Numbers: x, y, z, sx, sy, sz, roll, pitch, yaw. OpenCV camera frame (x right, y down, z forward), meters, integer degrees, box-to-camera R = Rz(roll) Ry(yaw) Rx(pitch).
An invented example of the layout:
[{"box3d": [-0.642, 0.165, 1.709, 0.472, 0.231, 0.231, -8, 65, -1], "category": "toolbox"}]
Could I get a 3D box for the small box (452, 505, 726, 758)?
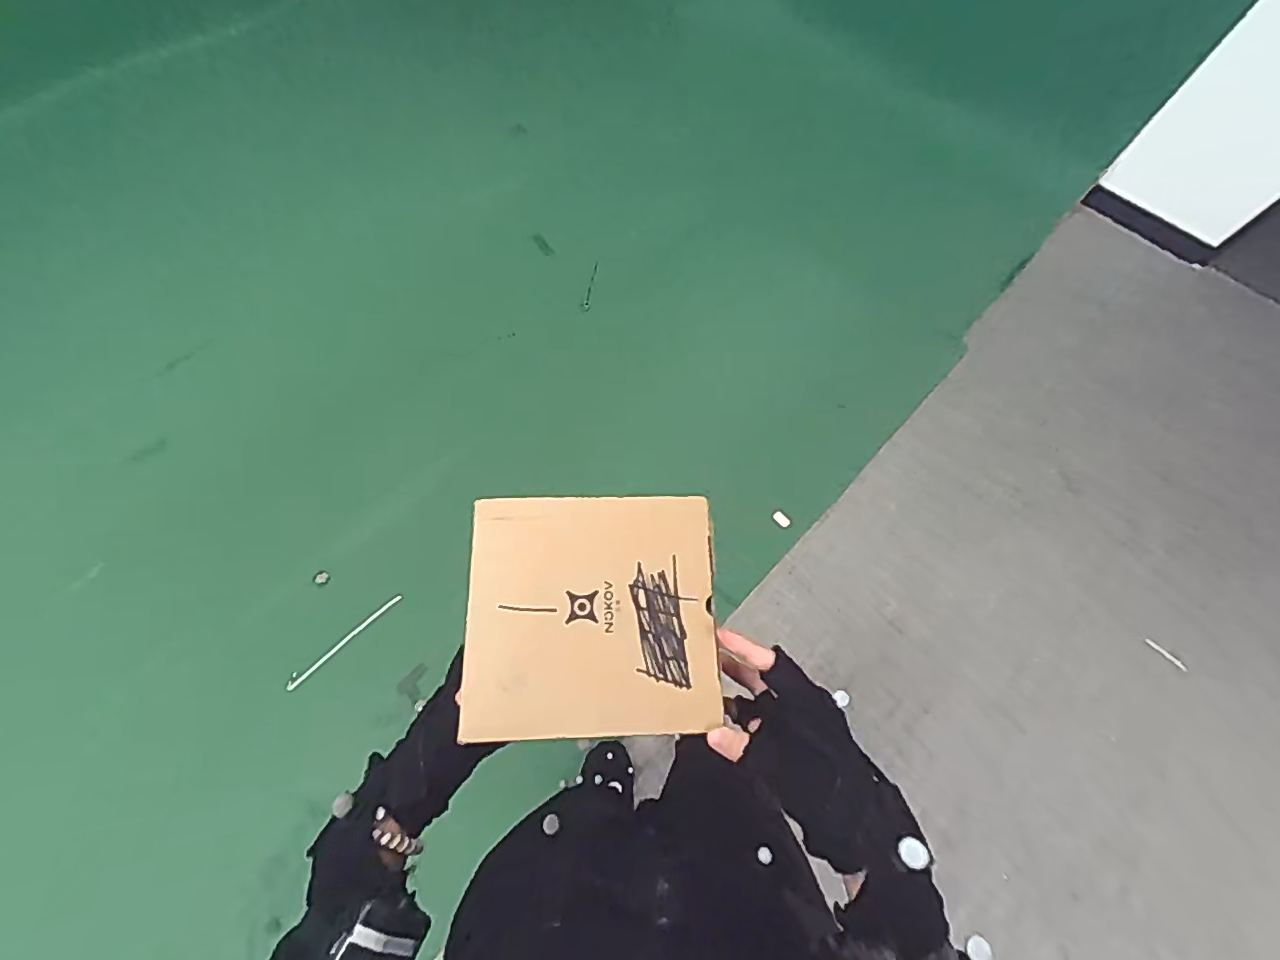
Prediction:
[{"box3d": [-0.039, 0.123, 0.442, 0.179, 0.176, 0.168, 0, 70, -4], "category": "small box"}]
